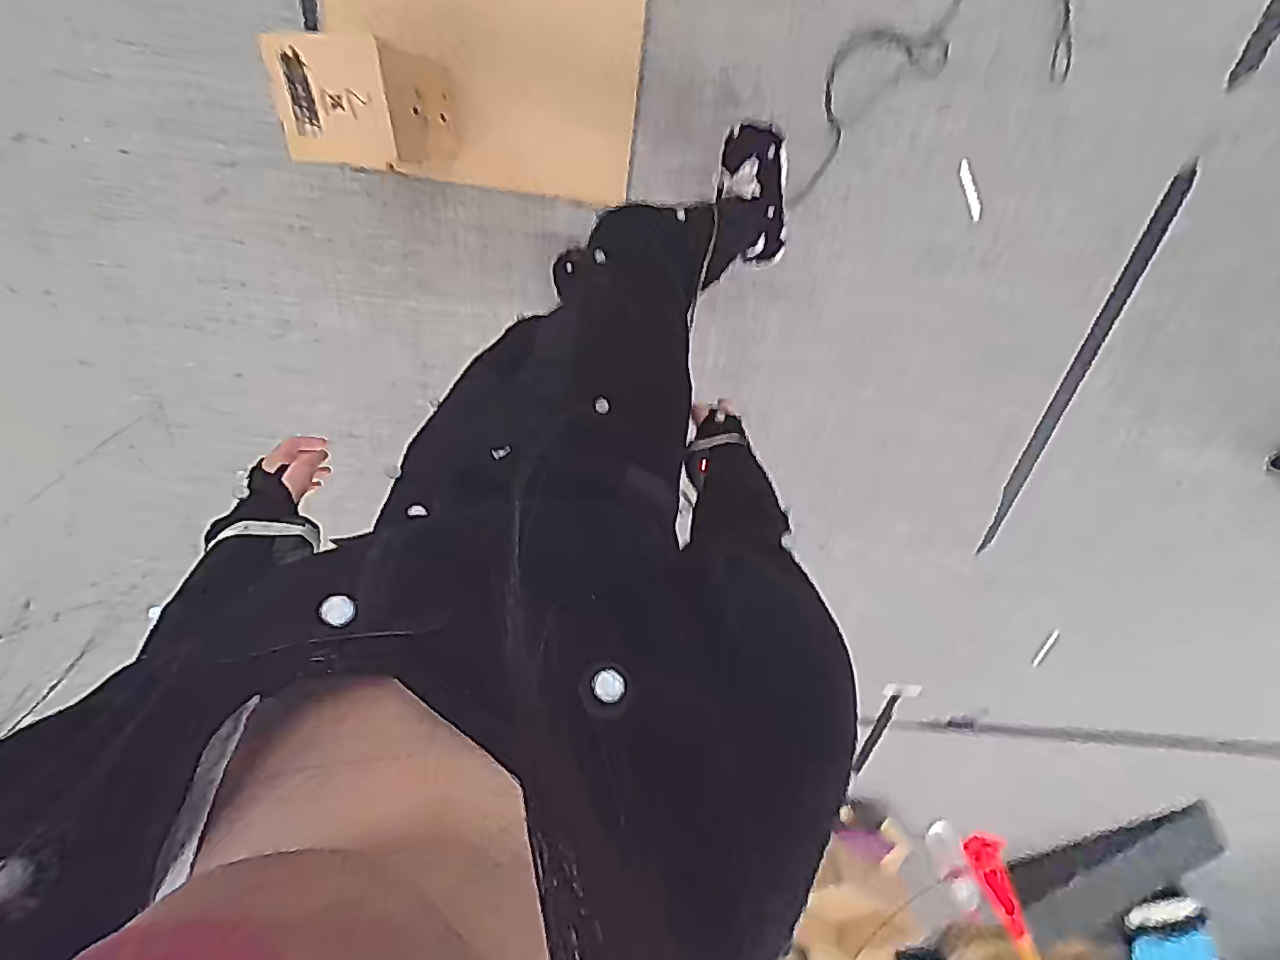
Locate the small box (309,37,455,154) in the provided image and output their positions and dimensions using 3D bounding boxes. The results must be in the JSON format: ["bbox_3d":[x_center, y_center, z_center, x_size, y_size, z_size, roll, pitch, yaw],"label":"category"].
[{"bbox_3d":[-0.475,-0.719,1.026,0.179,0.176,0.168,-2,121,1],"label":"small box"}]
